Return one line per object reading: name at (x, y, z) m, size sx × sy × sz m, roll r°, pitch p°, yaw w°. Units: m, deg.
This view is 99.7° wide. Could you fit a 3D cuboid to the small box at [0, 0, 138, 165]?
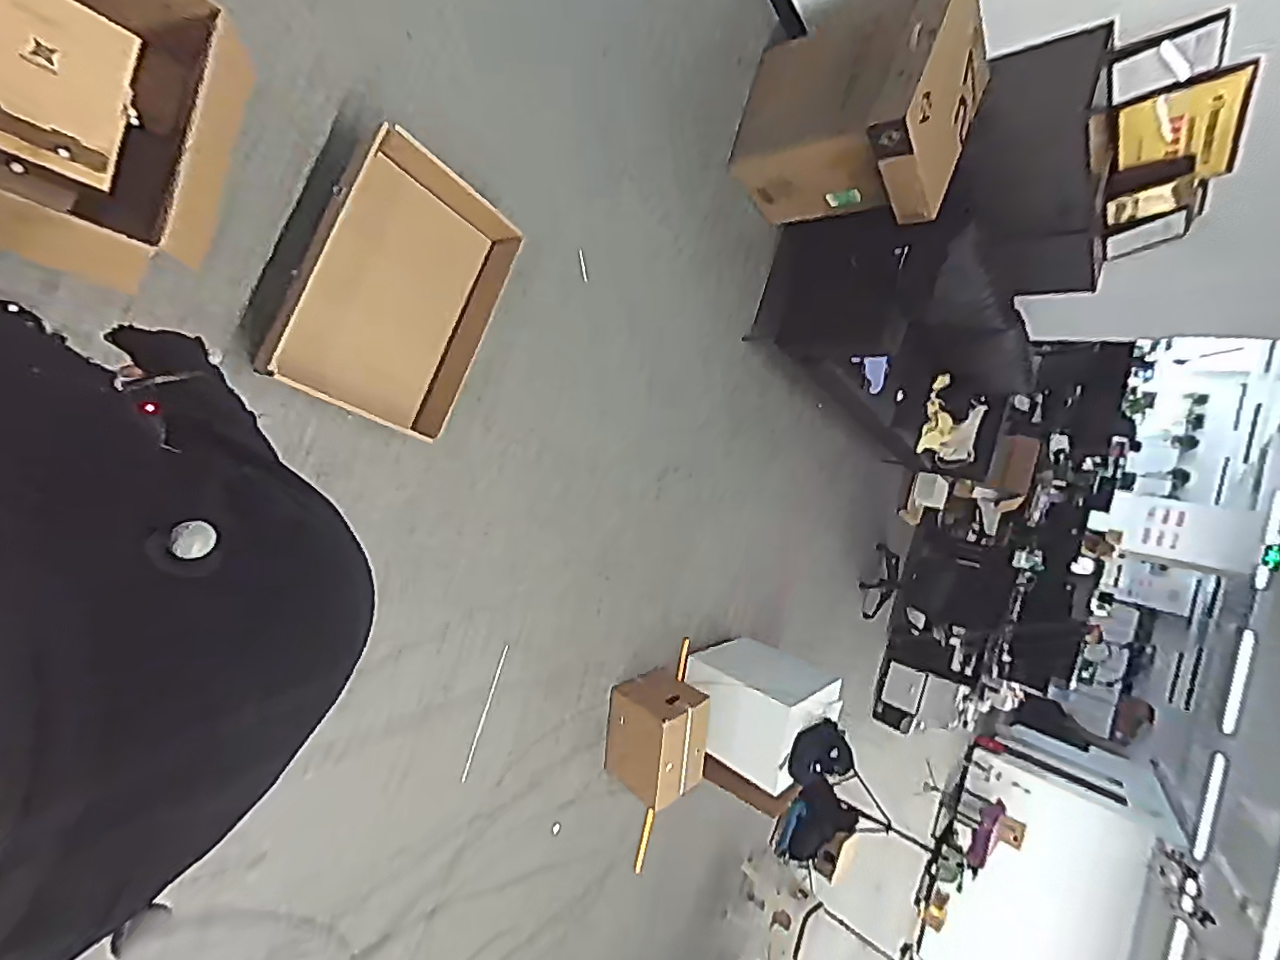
small box at (-0.850, -0.583, 0.766) m, size 0.168 × 0.176 × 0.179 m, roll 15°, pitch 91°, yaw -49°
